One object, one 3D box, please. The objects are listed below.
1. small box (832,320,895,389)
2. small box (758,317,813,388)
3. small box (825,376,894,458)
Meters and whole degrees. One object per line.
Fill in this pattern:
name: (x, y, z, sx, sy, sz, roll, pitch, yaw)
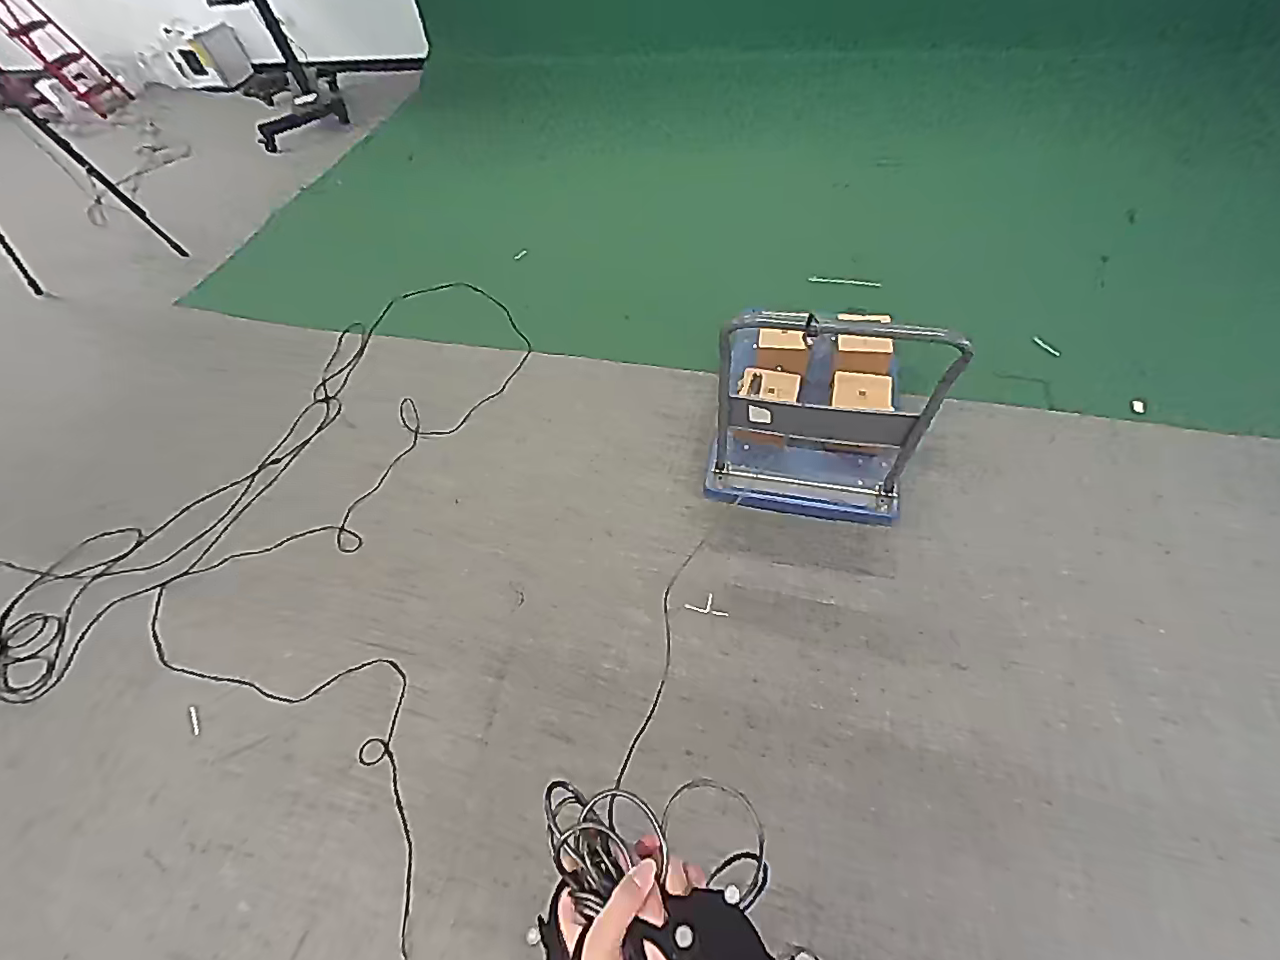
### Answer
small box: (0.746, -0.415, 1.820, 0.168, 0.176, 0.179, 6, 58, 12)
small box: (0.500, -0.438, 1.868, 0.168, 0.176, 0.179, 6, 57, 11)
small box: (0.677, -0.194, 1.679, 0.168, 0.176, 0.179, 10, 59, 14)
